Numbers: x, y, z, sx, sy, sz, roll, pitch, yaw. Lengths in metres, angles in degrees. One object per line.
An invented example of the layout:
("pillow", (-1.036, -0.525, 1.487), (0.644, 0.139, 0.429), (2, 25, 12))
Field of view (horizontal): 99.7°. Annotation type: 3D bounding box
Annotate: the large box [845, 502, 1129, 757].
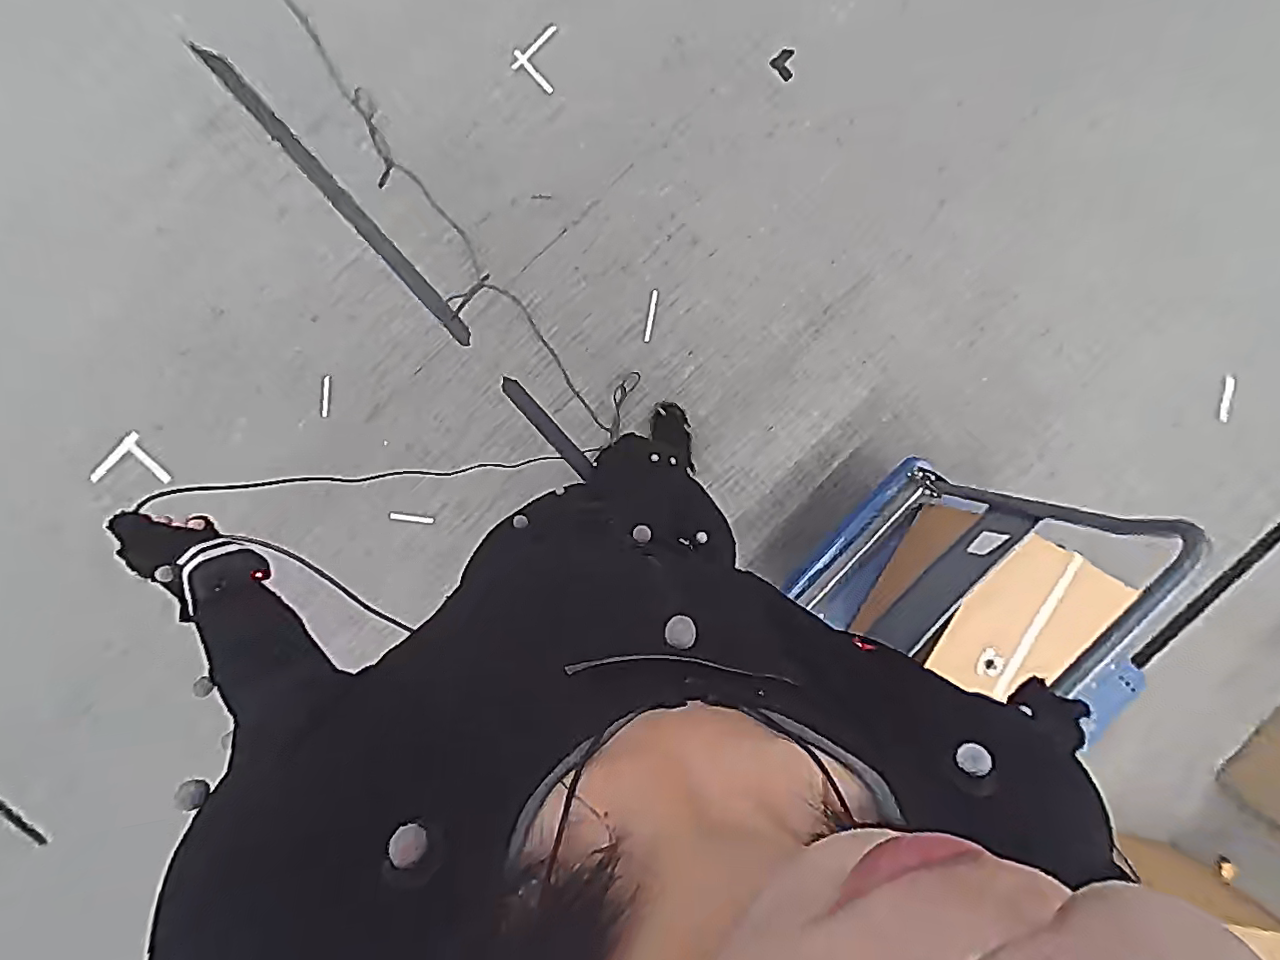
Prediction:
("large box", (0.745, 0.307, 1.223), (0.320, 0.320, 0.408), (29, 94, -3))
